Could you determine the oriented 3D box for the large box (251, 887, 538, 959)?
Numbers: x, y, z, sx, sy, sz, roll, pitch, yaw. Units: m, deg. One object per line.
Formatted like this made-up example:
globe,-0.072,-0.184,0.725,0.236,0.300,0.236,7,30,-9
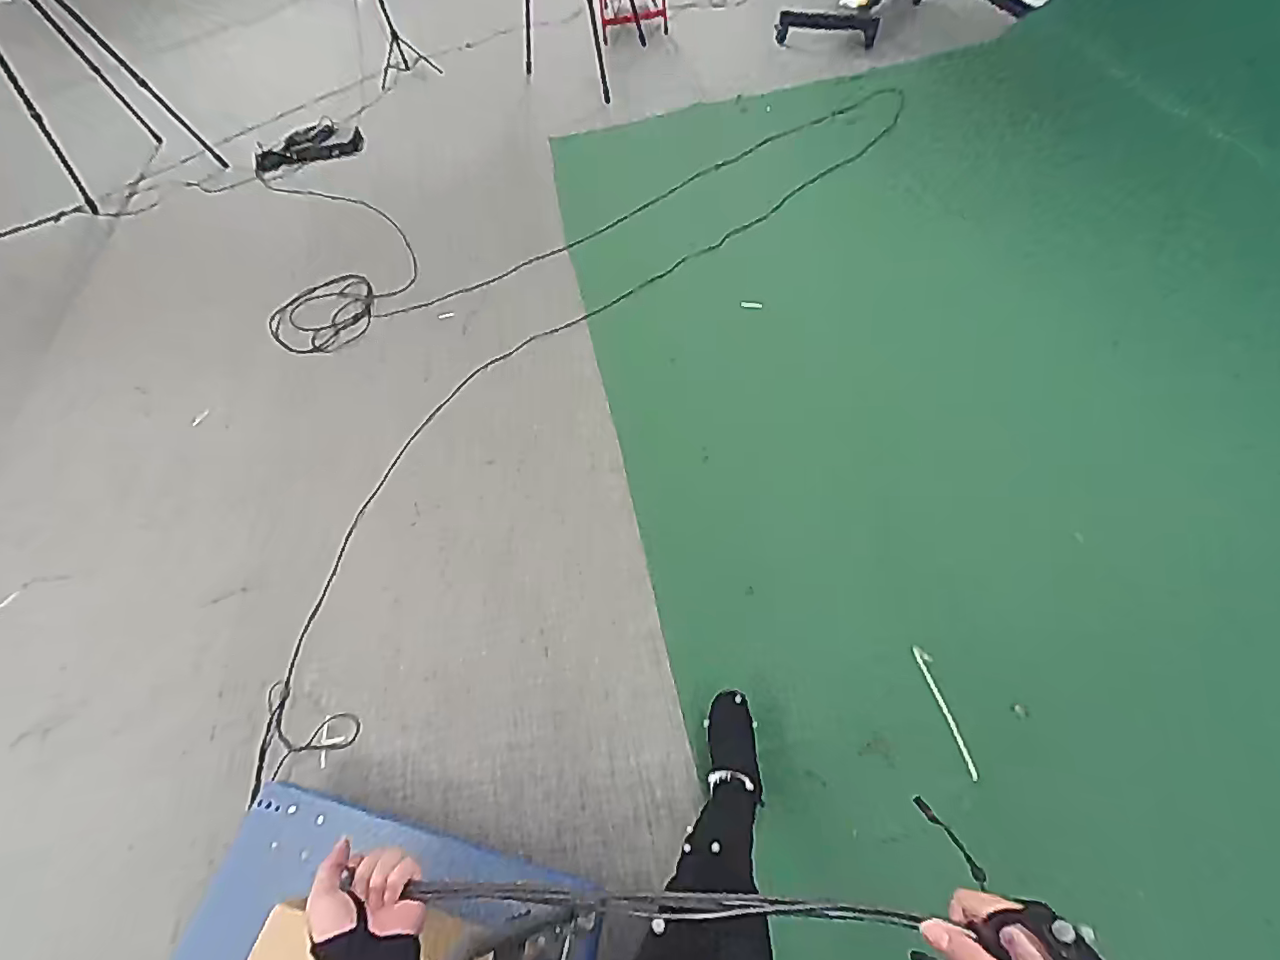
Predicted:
large box,-0.440,0.949,0.919,0.408,0.320,0.320,8,59,14
